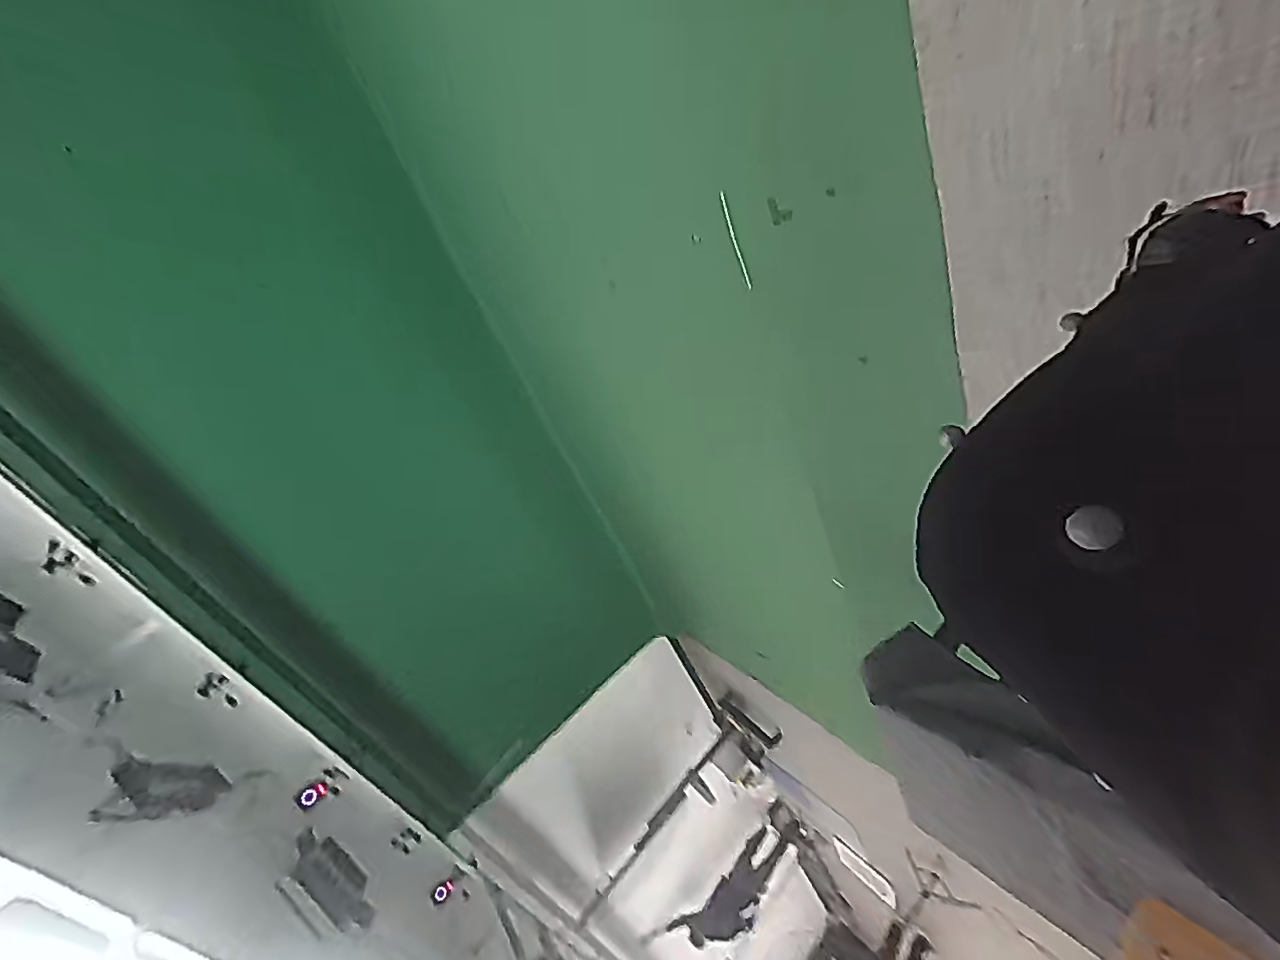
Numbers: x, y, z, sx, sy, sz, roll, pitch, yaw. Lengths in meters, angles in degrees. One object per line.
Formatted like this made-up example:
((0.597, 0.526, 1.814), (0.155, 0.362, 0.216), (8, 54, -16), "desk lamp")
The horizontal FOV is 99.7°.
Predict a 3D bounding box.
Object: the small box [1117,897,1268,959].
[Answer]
((0.978, 0.886, 0.955), (0.179, 0.176, 0.168), (25, 148, 46), "small box")
